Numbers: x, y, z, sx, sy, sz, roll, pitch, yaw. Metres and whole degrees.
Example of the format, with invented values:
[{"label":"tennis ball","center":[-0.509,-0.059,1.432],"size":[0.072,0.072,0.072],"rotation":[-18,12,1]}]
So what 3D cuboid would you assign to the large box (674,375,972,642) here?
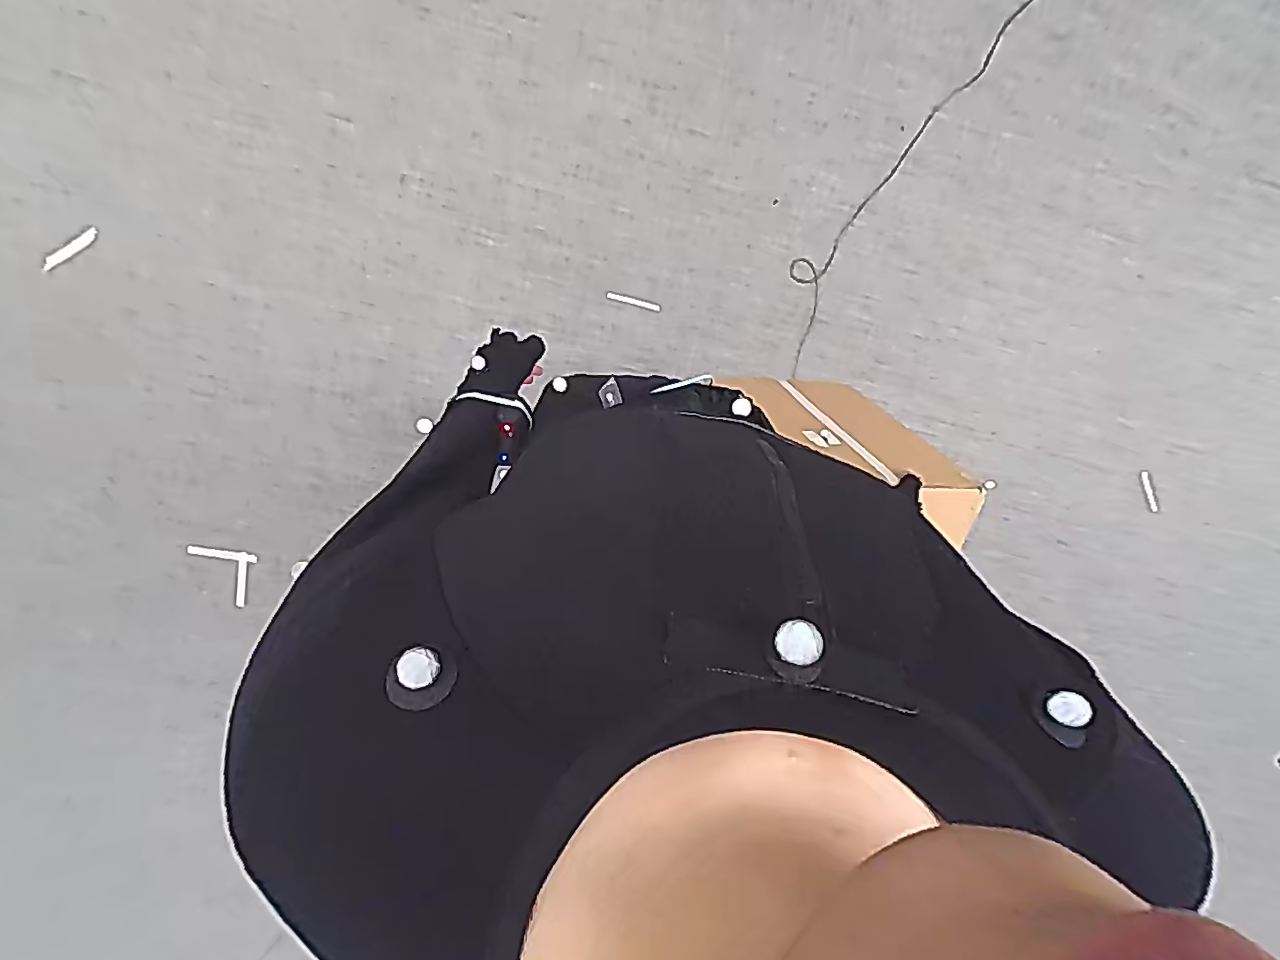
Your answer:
[{"label":"large box","center":[0.280,0.033,0.993],"size":[0.320,0.408,0.320],"rotation":[0,123,-13]}]
